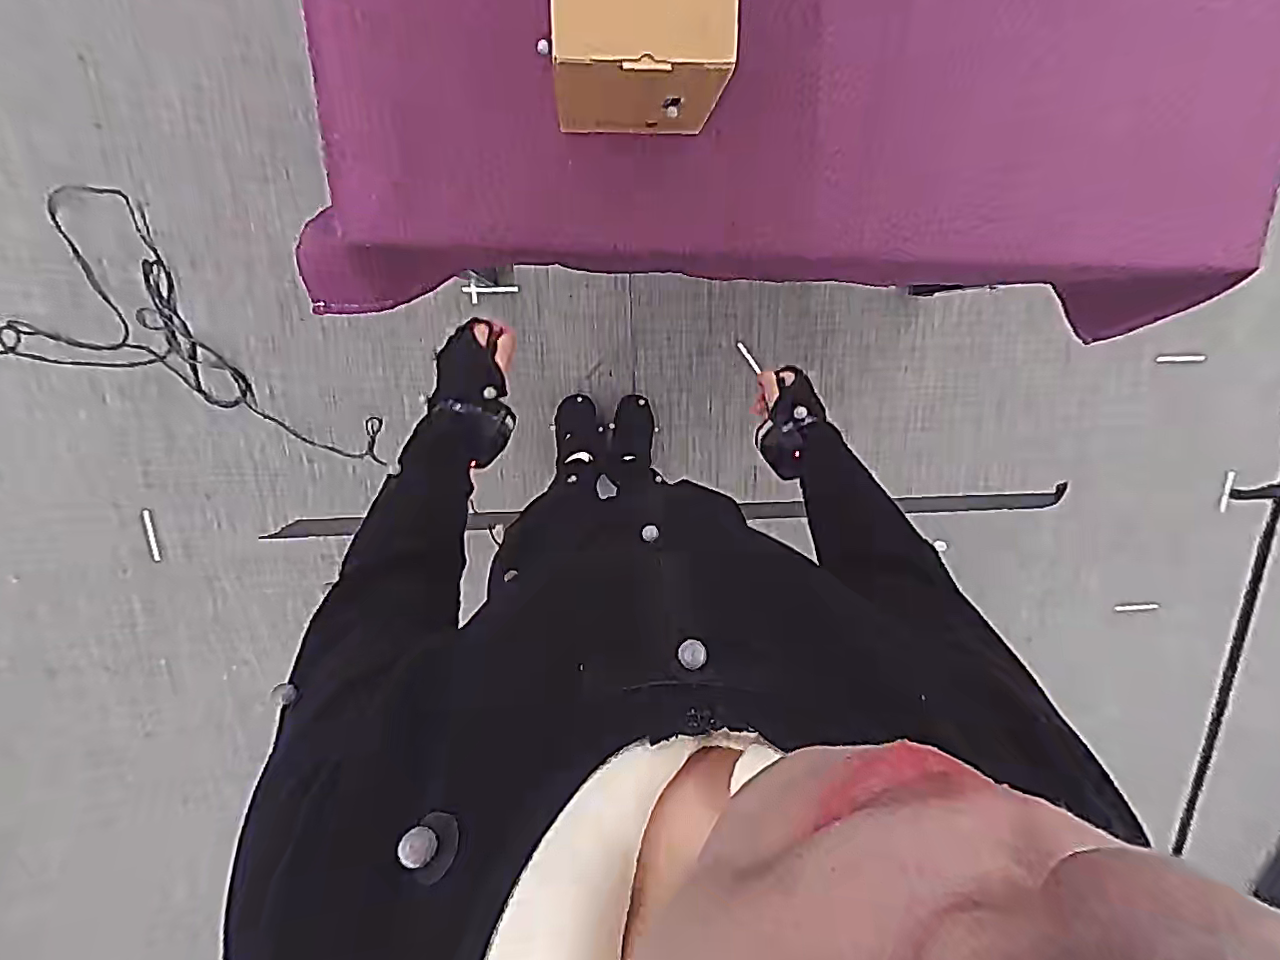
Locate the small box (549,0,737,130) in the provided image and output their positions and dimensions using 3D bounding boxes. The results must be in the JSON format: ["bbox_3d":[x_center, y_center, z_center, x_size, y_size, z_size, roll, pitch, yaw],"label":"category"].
[{"bbox_3d":[-0.004,-0.469,0.532,0.168,0.176,0.179,-2,104,-6],"label":"small box"}]
